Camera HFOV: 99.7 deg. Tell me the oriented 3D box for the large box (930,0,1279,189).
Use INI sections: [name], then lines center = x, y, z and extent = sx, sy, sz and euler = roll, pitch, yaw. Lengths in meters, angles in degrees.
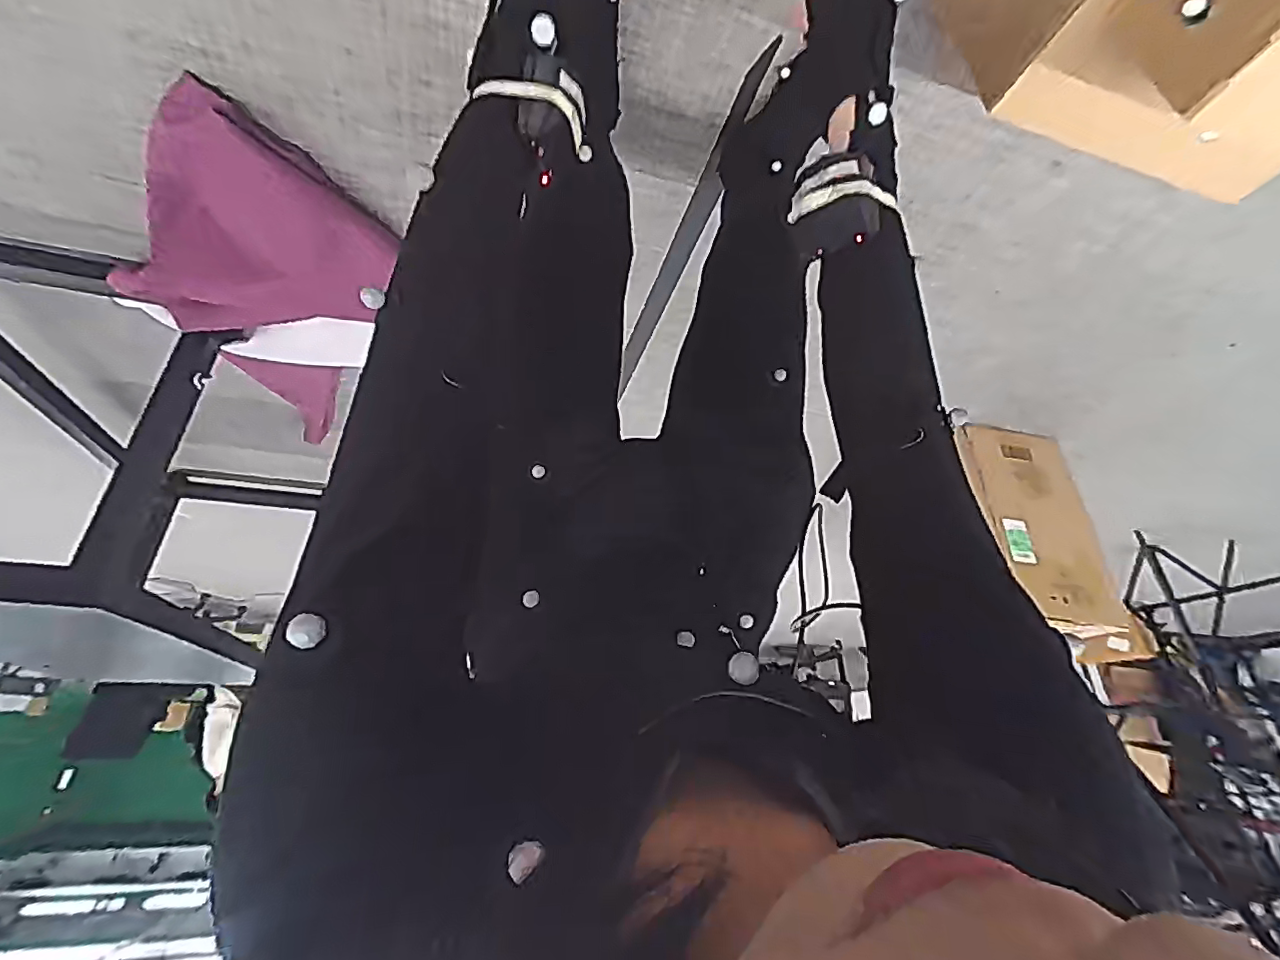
[large box]
center = 0.611, -0.594, 0.590
extent = 0.408, 0.320, 0.320
euler = 6, 153, -15
